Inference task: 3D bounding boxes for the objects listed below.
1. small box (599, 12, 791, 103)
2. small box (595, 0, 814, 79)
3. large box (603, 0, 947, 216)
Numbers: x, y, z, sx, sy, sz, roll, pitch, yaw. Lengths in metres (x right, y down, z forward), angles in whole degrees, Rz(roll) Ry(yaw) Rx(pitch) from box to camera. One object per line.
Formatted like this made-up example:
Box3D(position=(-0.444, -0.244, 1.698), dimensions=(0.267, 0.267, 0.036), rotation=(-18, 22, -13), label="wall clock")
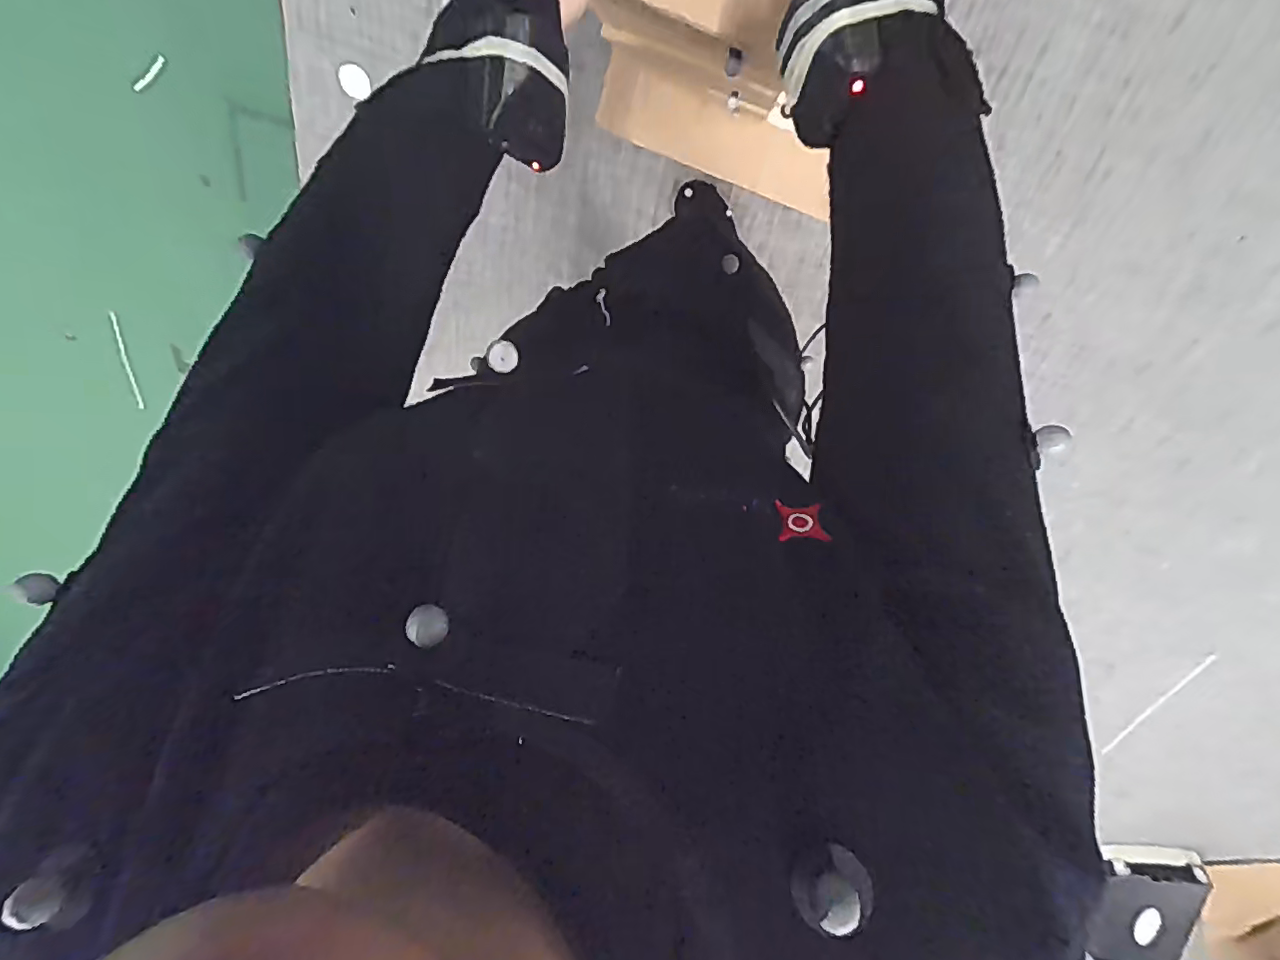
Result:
Box3D(position=(0.080, -0.486, 0.522), dimensions=(0.179, 0.176, 0.168), rotation=(19, 121, 2), label="small box")
Box3D(position=(0.057, -0.412, 0.379), dimensions=(0.179, 0.176, 0.168), rotation=(21, 122, -1), label="small box")
Box3D(position=(0.195, -0.666, 0.870), dimensions=(0.408, 0.320, 0.320), rotation=(21, 124, -1), label="large box")
